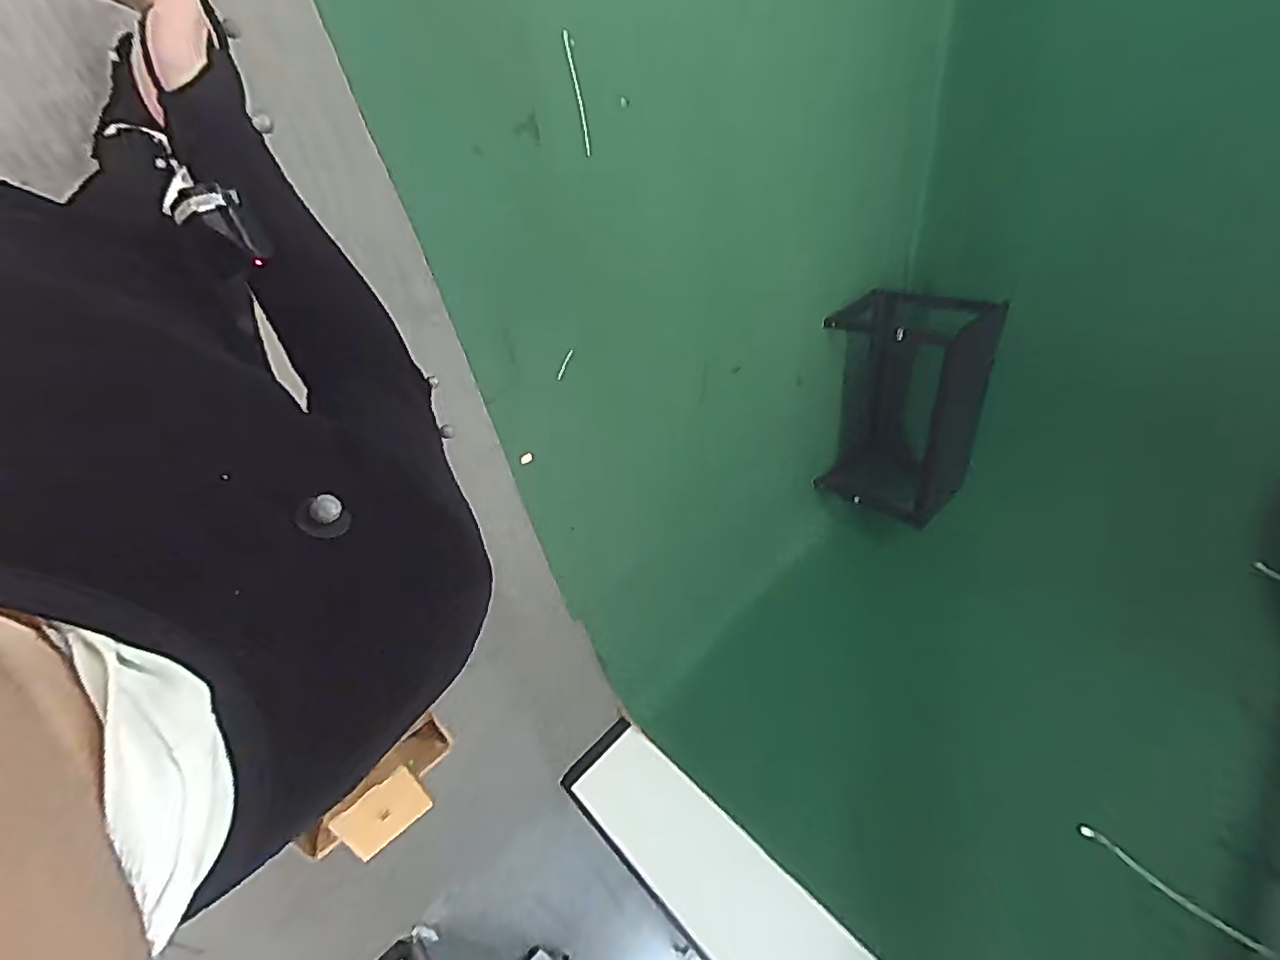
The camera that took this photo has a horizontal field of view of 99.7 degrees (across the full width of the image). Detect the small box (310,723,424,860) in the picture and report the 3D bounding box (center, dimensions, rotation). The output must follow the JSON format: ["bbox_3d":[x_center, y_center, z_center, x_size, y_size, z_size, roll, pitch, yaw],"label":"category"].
[{"bbox_3d":[-0.622,0.690,1.214,0.168,0.176,0.179,-34,130,-30],"label":"small box"}]
